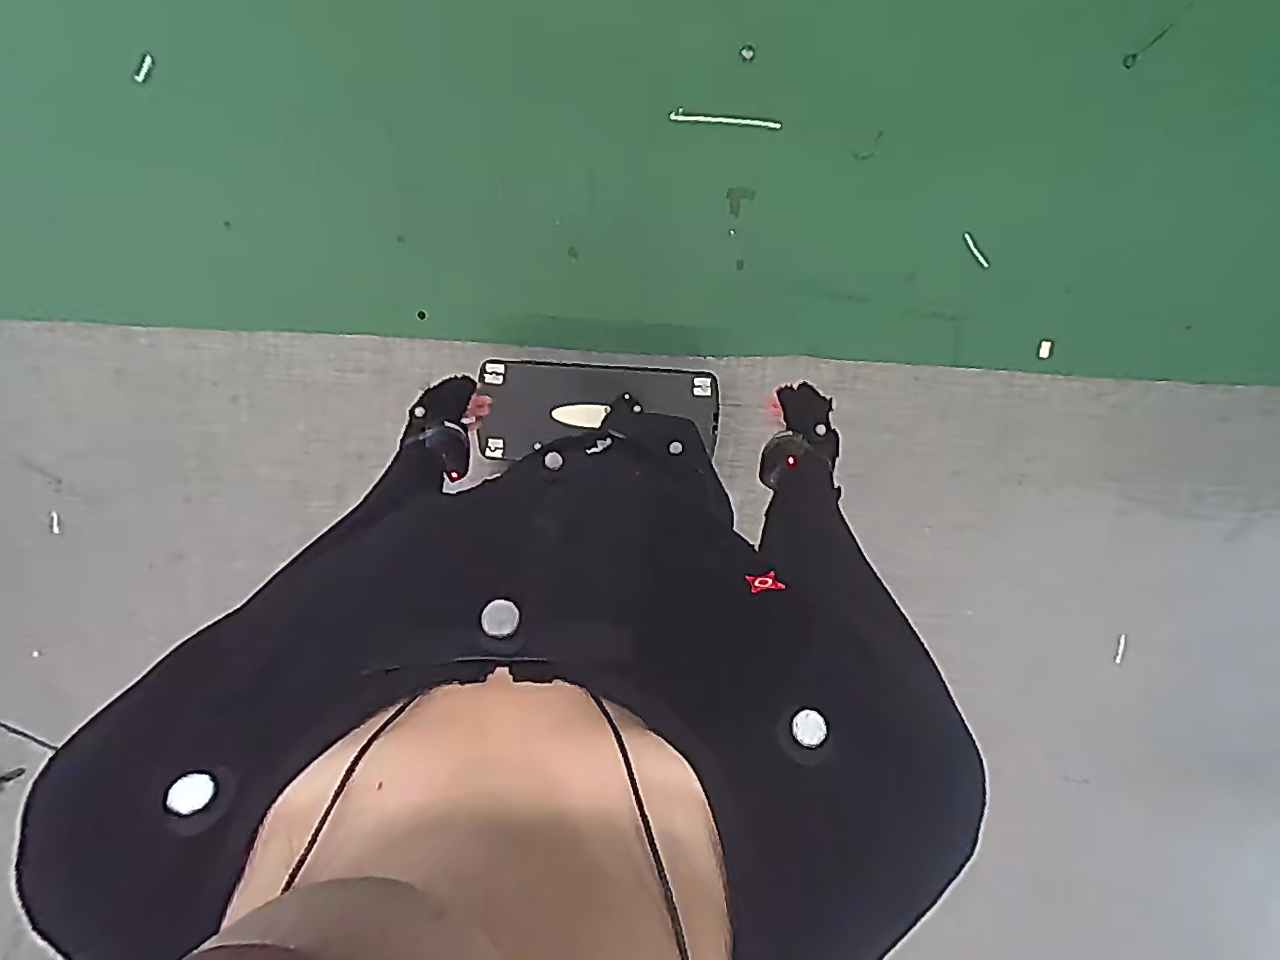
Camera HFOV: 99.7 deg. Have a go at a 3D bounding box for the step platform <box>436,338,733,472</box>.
[{"bbox_3d":[-0.128,-0.185,1.339,0.684,0.204,0.286,2,100,-1],"label":"step platform"}]
